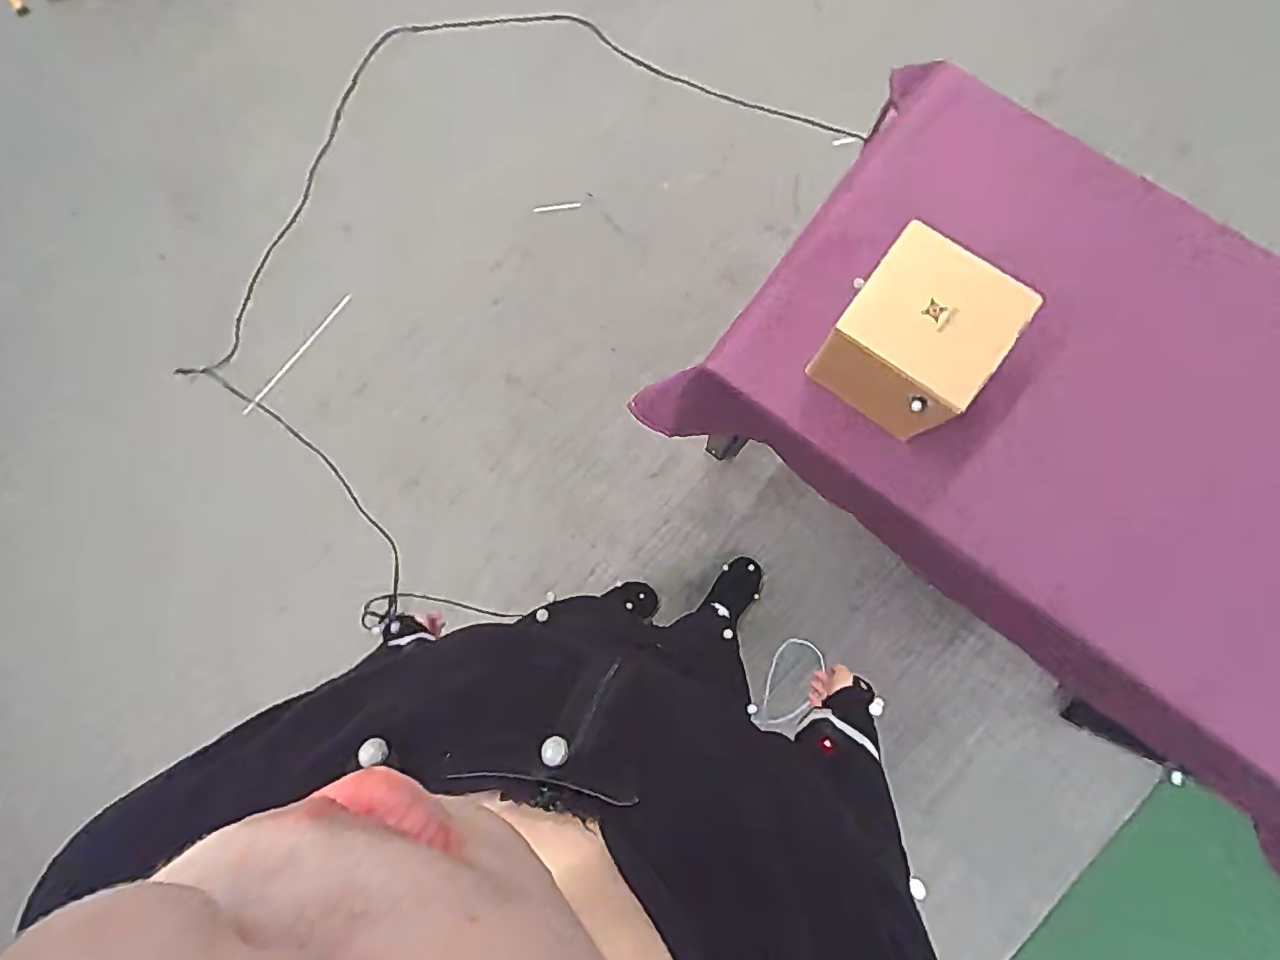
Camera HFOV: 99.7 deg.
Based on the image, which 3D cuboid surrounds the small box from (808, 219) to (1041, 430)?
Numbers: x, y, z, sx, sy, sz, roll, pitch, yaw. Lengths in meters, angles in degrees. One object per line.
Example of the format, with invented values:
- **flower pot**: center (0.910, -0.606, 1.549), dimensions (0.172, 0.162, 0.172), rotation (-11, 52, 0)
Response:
- **small box**: center (0.346, -0.185, 0.699), dimensions (0.179, 0.176, 0.168), rotation (37, 87, 7)
